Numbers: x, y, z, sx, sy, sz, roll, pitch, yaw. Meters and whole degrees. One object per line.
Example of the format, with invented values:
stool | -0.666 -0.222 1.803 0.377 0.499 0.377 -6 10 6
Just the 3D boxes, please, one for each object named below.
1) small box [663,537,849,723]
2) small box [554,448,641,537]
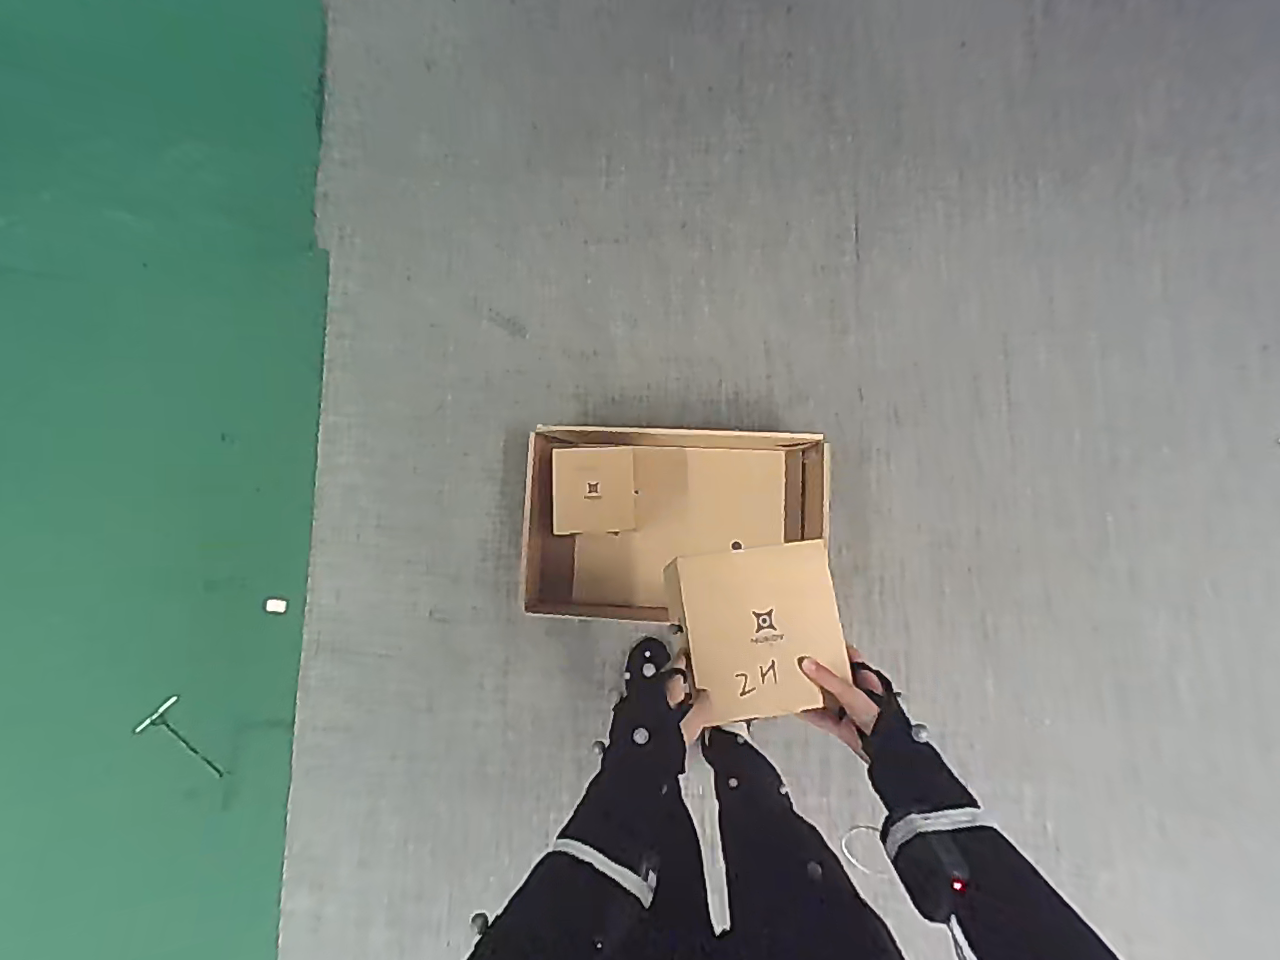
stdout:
small box | 0.122 0.174 0.647 0.168 0.176 0.179 -7 77 -3
small box | -0.085 0.028 1.155 0.168 0.176 0.179 -1 86 4
